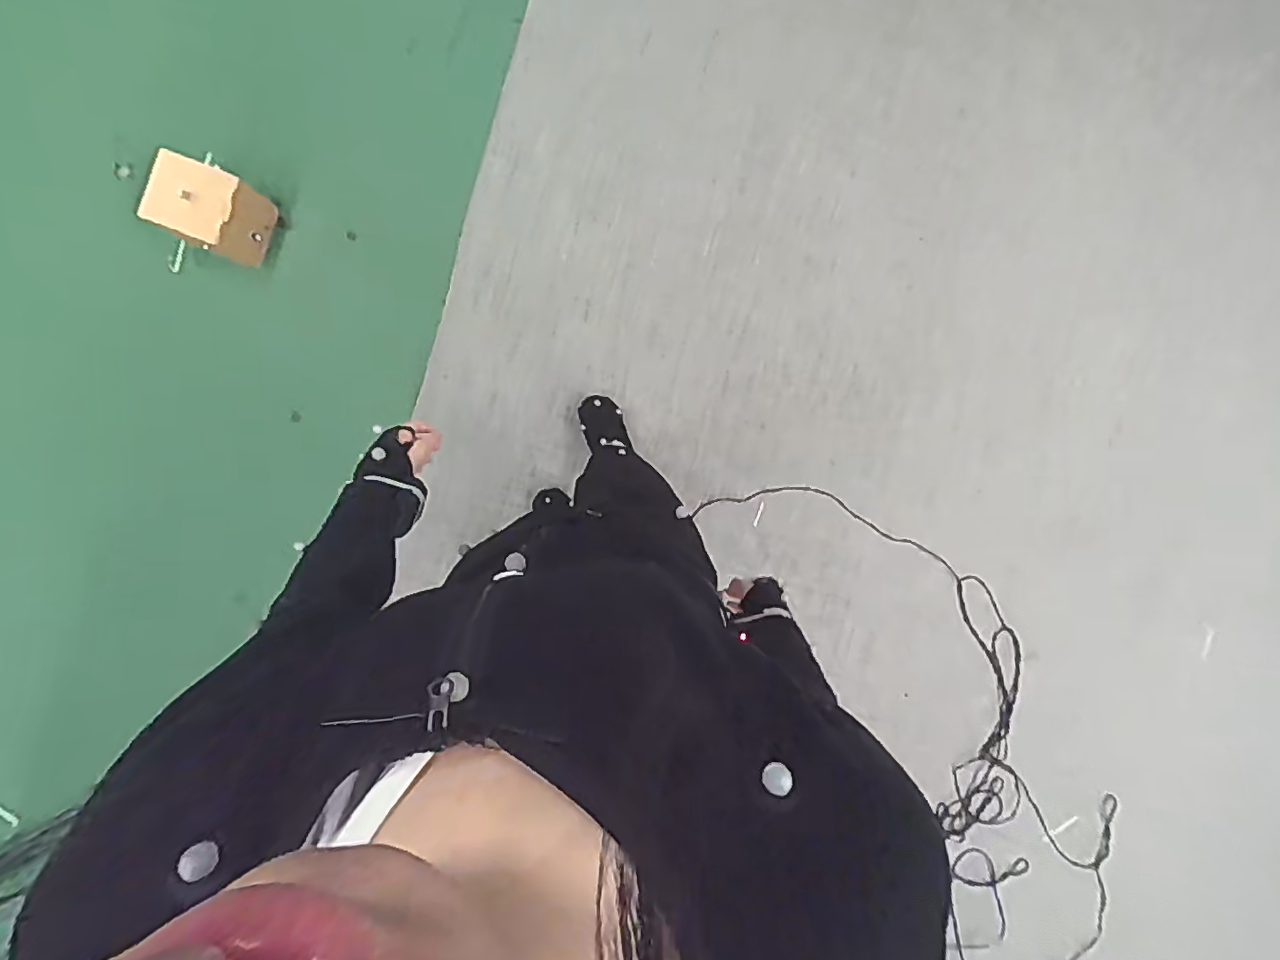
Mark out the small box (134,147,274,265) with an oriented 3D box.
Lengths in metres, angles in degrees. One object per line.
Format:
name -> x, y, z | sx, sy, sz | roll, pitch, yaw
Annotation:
small box -> -1.034, -0.644, 1.296 | 0.179, 0.176, 0.168 | 19, 90, -7
